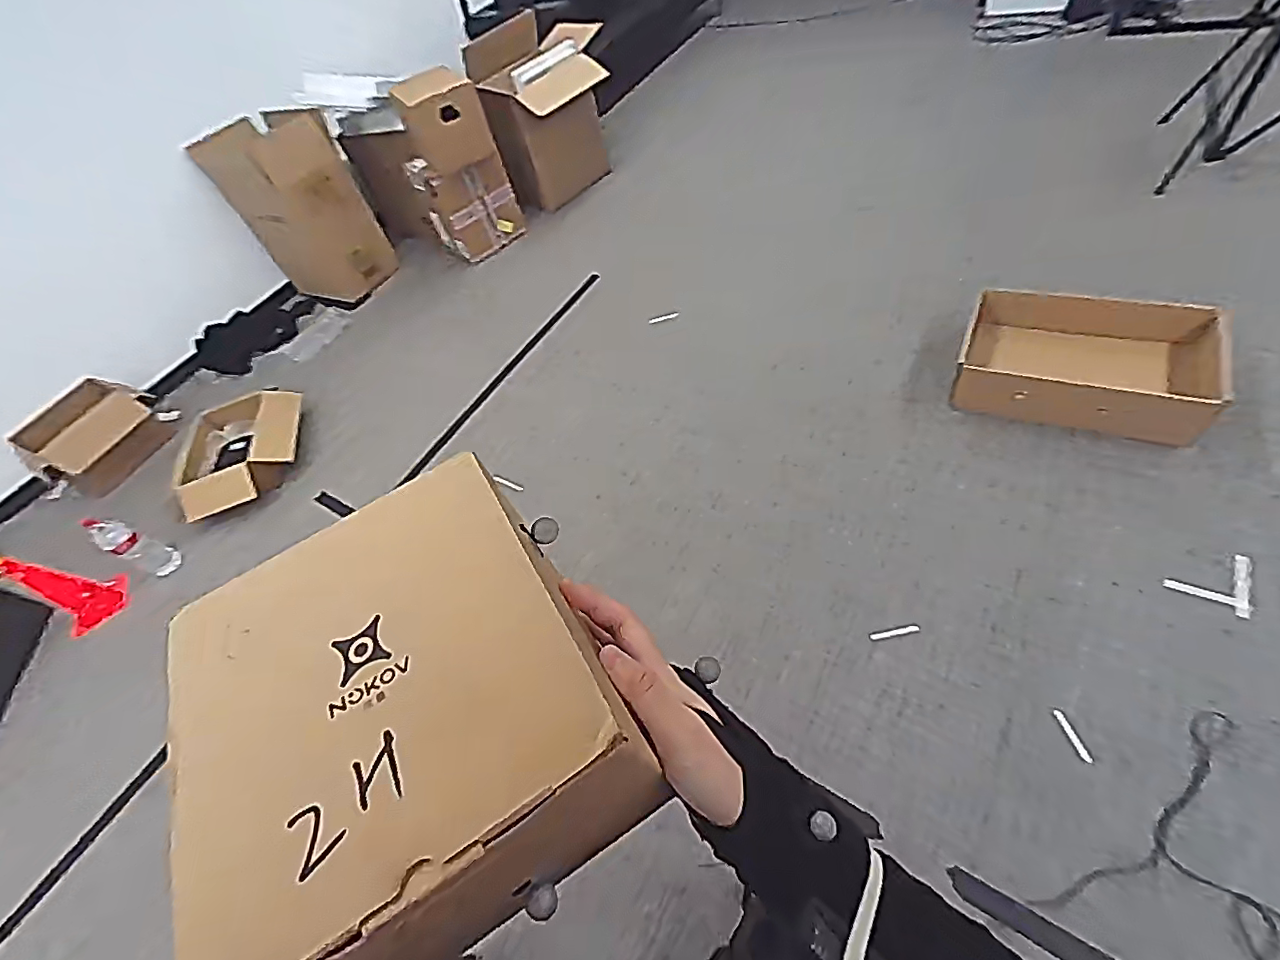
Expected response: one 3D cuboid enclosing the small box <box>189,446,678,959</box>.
[{"bbox_3d":[-0.096,0.121,0.296,0.168,0.176,0.179,-31,55,-10],"label":"small box"}]
